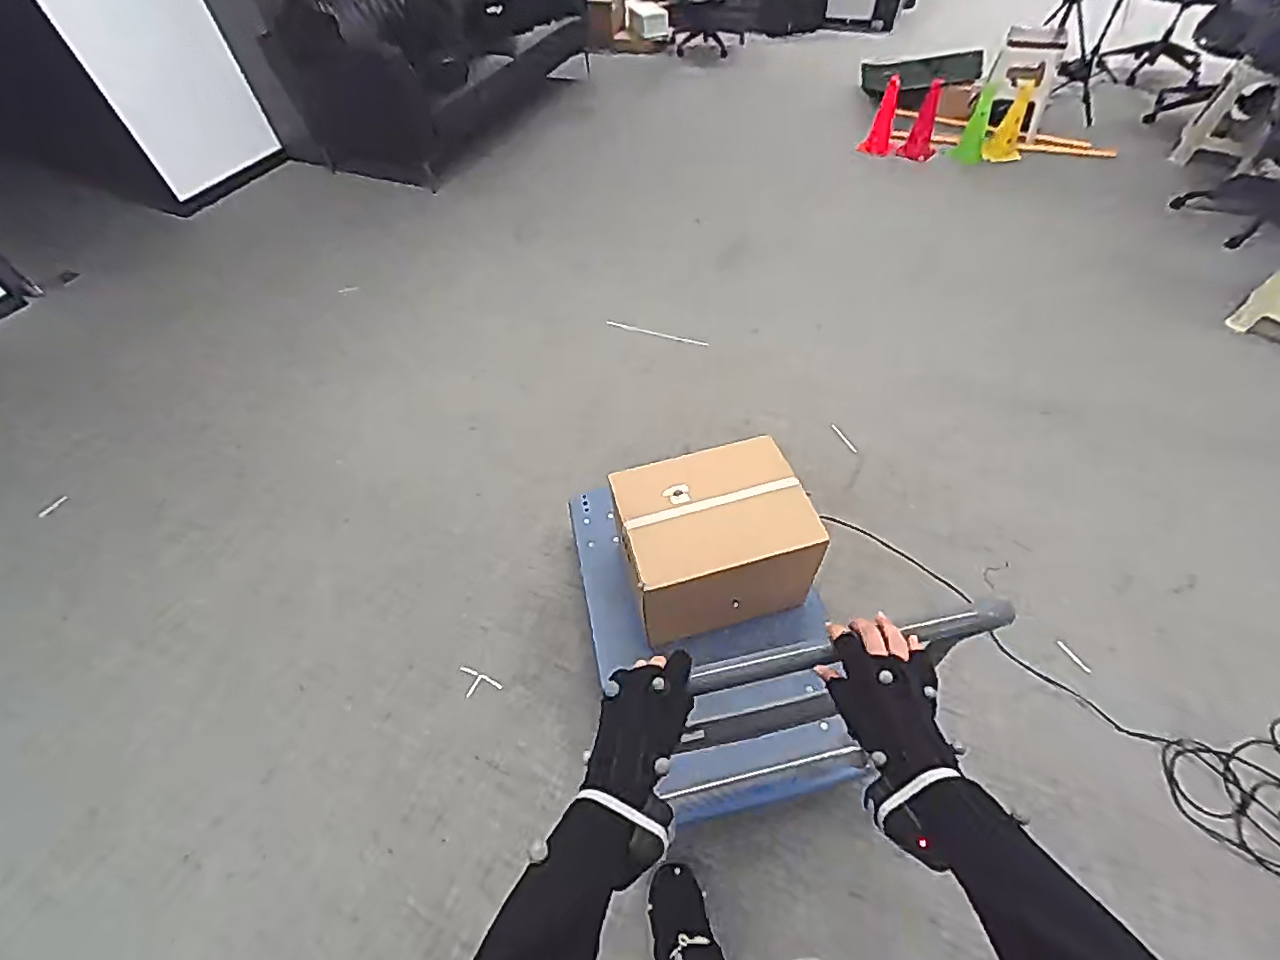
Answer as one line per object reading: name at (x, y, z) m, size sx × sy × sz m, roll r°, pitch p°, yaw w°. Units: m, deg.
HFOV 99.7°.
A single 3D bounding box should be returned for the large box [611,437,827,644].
large box at (0.173, 0.150, 1.308) m, size 0.408 × 0.320 × 0.320 m, roll -15°, pitch 52°, yaw -7°
